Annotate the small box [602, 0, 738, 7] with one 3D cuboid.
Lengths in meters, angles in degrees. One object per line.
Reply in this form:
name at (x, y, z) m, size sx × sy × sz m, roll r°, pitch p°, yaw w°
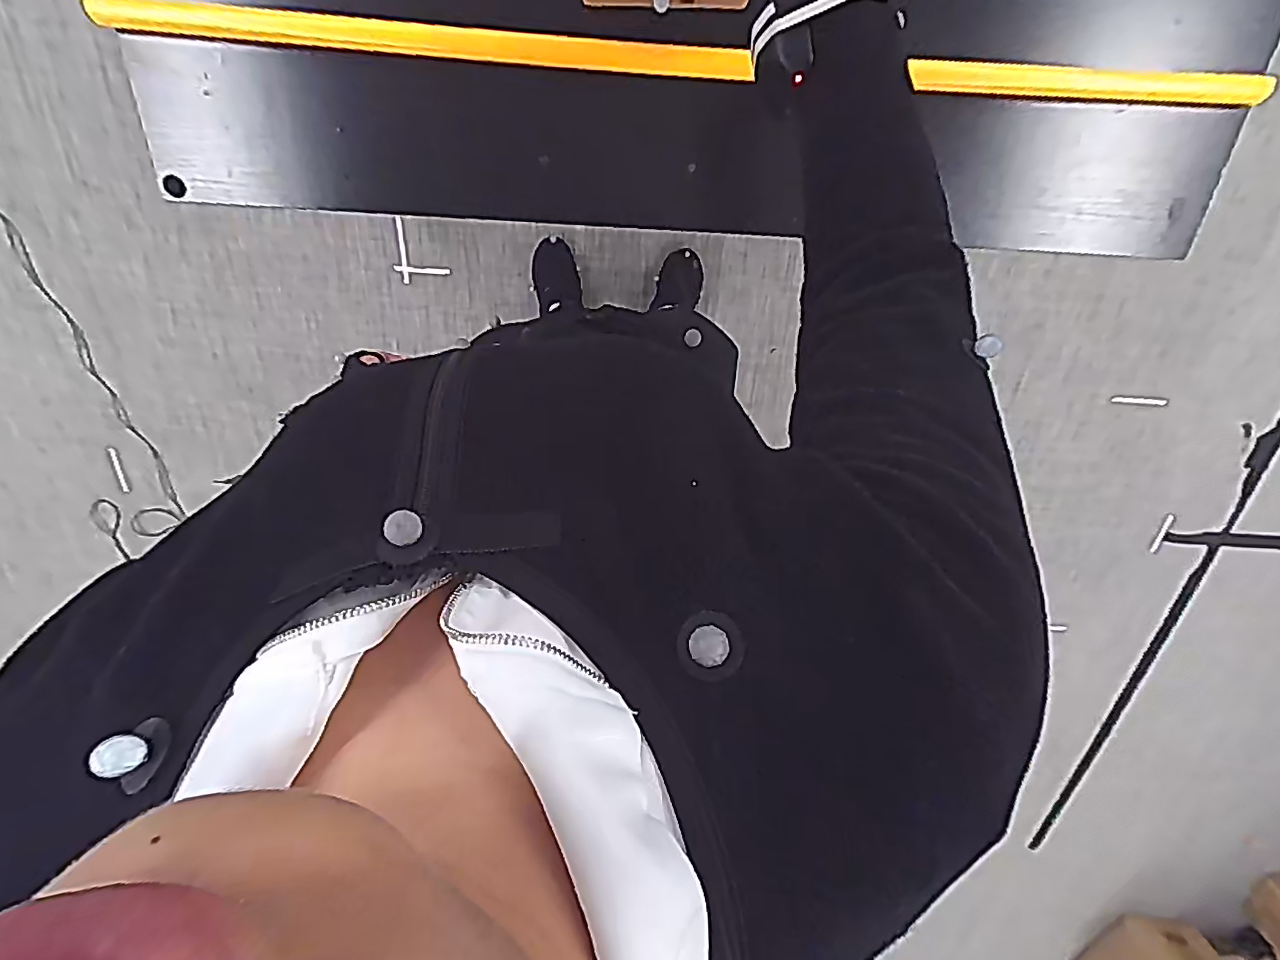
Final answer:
small box at (0.030, -0.533, 0.444) m, size 0.168 × 0.176 × 0.179 m, roll 0°, pitch 116°, yaw -1°
